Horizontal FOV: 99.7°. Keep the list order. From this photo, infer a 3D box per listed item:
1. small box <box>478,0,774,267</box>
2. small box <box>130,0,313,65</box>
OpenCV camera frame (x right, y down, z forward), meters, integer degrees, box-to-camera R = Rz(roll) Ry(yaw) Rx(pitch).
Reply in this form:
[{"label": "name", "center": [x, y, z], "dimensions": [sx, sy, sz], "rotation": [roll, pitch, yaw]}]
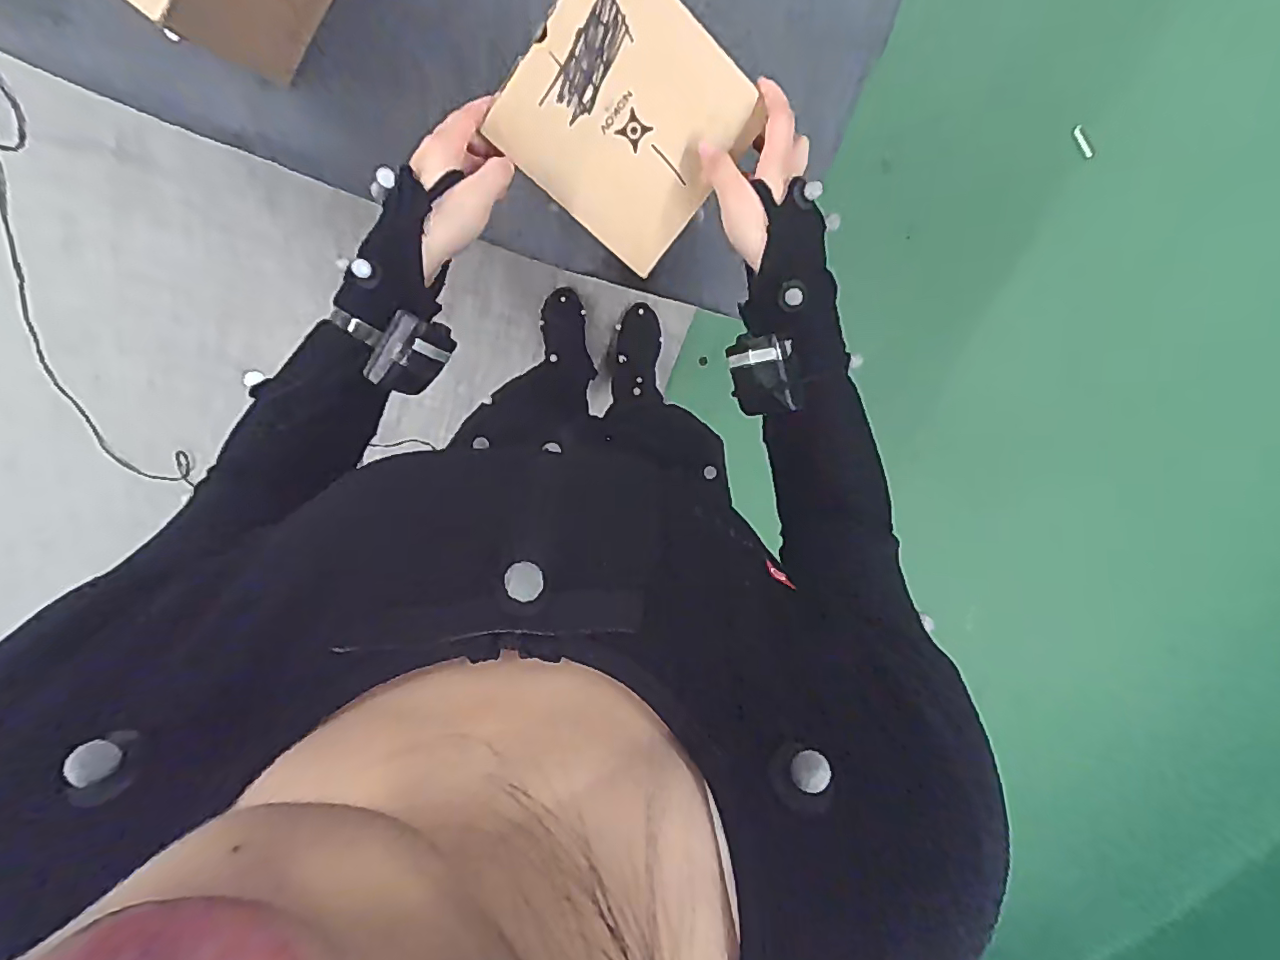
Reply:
[{"label": "small box", "center": [-0.012, -0.323, 0.493], "dimensions": [0.179, 0.176, 0.168], "rotation": [37, 112, -17]}, {"label": "small box", "center": [-0.373, -0.477, 0.427], "dimensions": [0.179, 0.176, 0.168], "rotation": [37, 106, -15]}]
